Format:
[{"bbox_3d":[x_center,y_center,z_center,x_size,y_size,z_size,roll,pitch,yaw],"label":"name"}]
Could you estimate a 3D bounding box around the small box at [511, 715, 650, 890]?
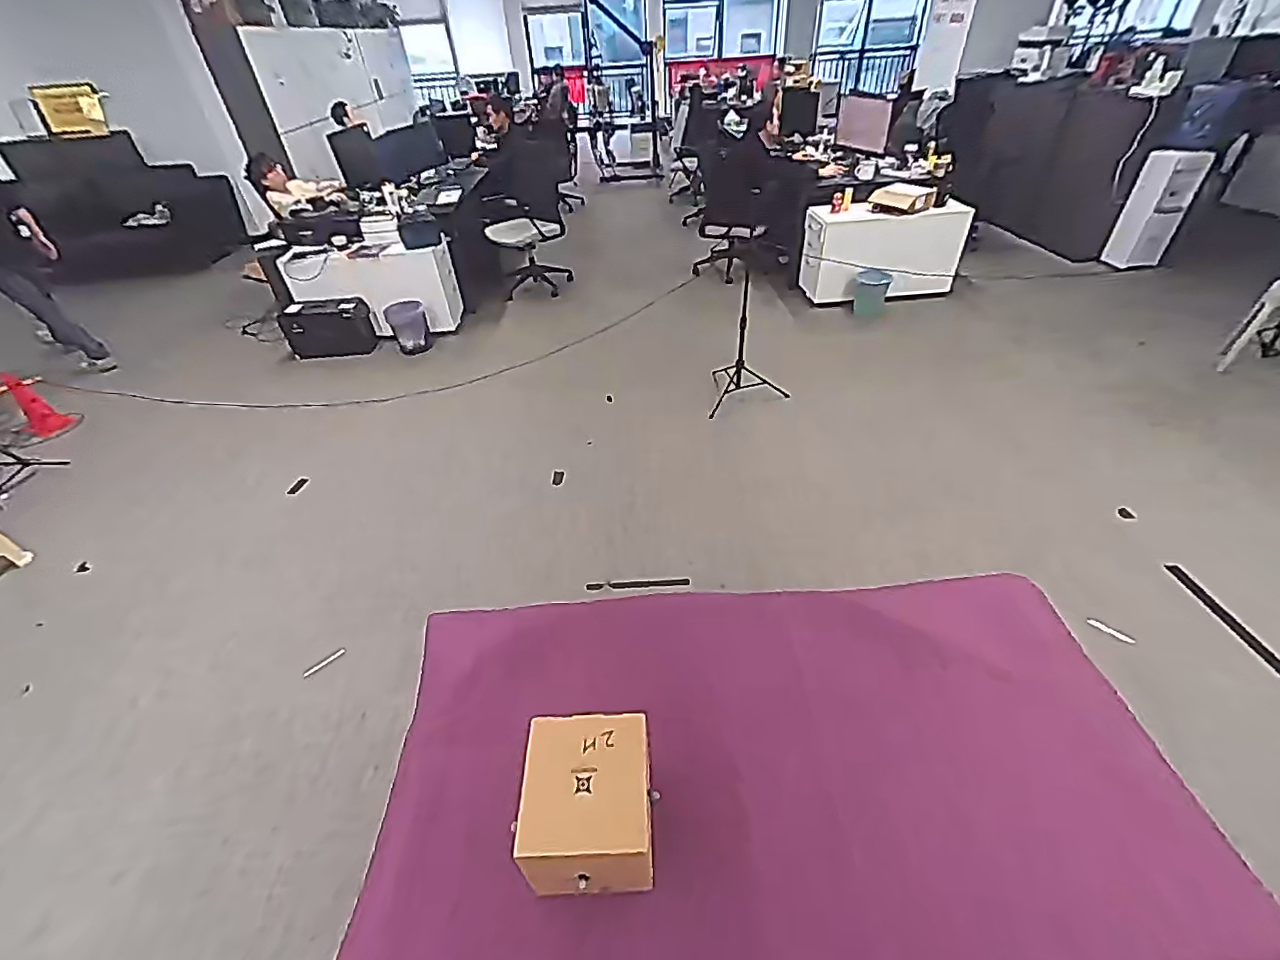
[{"bbox_3d":[-0.072,0.458,0.763,0.168,0.176,0.179,-2,40,1],"label":"small box"}]
